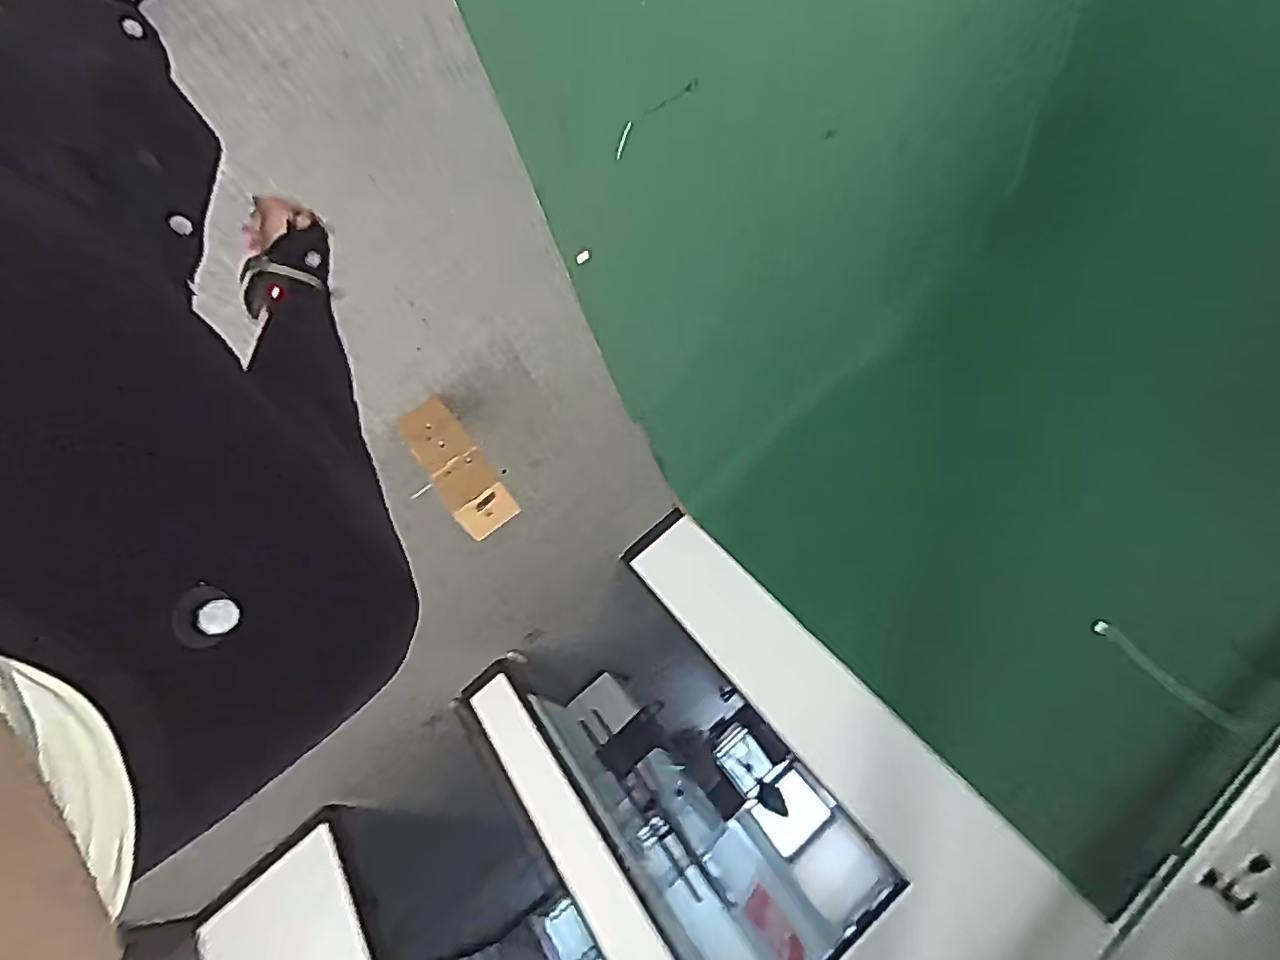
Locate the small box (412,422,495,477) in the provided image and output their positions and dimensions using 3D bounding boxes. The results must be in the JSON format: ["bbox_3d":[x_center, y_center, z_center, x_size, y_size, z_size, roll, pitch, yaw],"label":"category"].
[{"bbox_3d":[-0.608,-0.064,1.757,0.168,0.176,0.179,-36,145,-13],"label":"small box"}]

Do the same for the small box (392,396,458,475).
[{"bbox_3d":[-0.709,-0.156,1.847,0.179,0.176,0.168,-36,146,-14],"label":"small box"}]

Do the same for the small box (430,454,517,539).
[{"bbox_3d":[-0.516,0.044,1.673,0.168,0.176,0.179,-37,147,-13],"label":"small box"}]
